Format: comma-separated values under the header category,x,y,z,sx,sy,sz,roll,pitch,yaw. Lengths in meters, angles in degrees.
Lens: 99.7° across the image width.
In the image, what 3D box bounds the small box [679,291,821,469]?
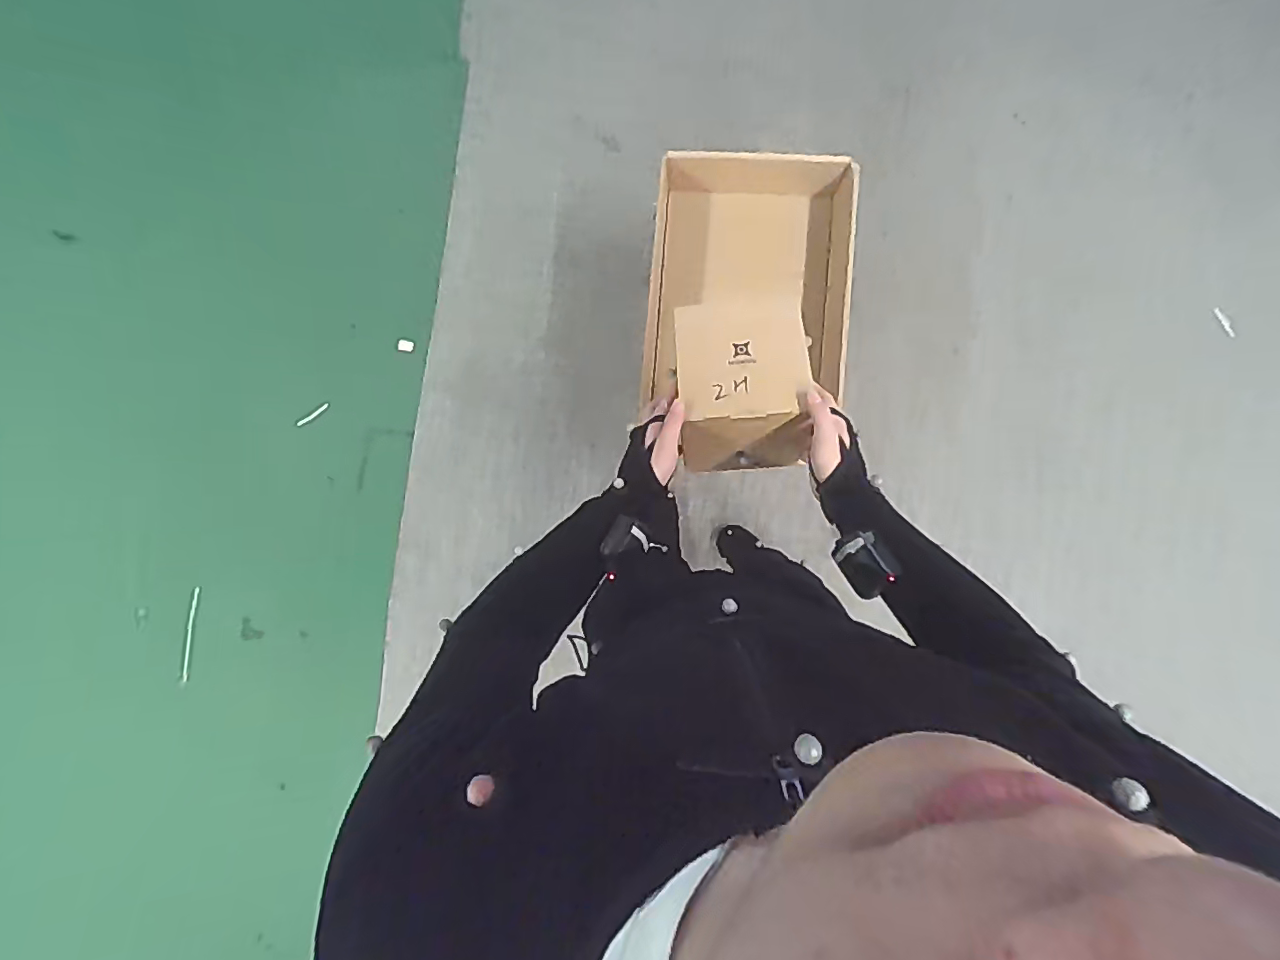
category,x,y,z,sx,sy,sz,roll,pitch,yaw
small box,0.141,-0.130,0.747,0.168,0.176,0.179,-4,68,6
